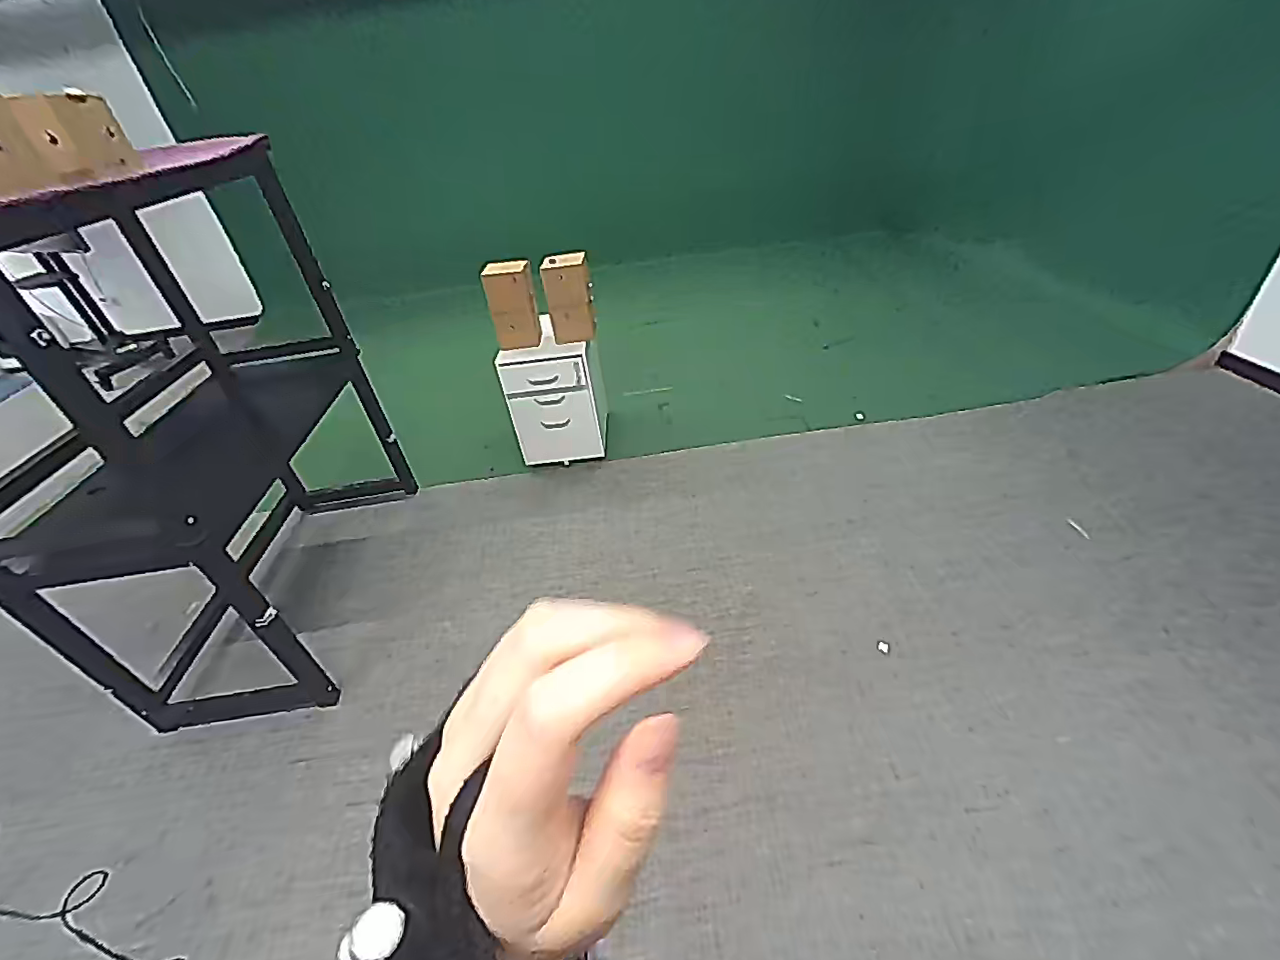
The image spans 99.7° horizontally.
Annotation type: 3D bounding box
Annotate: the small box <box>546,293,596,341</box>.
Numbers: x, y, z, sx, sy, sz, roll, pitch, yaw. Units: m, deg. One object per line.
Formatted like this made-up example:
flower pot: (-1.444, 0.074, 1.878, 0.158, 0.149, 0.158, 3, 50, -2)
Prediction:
small box: (-0.302, -0.729, 2.396, 0.179, 0.176, 0.168, -5, 38, 5)

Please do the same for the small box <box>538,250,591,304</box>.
small box: (-0.316, -0.856, 2.292, 0.179, 0.176, 0.168, -5, 38, 5)

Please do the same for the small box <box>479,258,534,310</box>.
small box: (-0.568, -0.837, 2.320, 0.179, 0.176, 0.168, -4, 37, 2)

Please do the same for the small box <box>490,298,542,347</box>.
small box: (-0.551, -0.707, 2.418, 0.179, 0.176, 0.168, -6, 38, 2)

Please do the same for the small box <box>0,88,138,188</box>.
small box: (-1.345, -0.795, 1.256, 0.179, 0.176, 0.168, -8, 36, 1)
